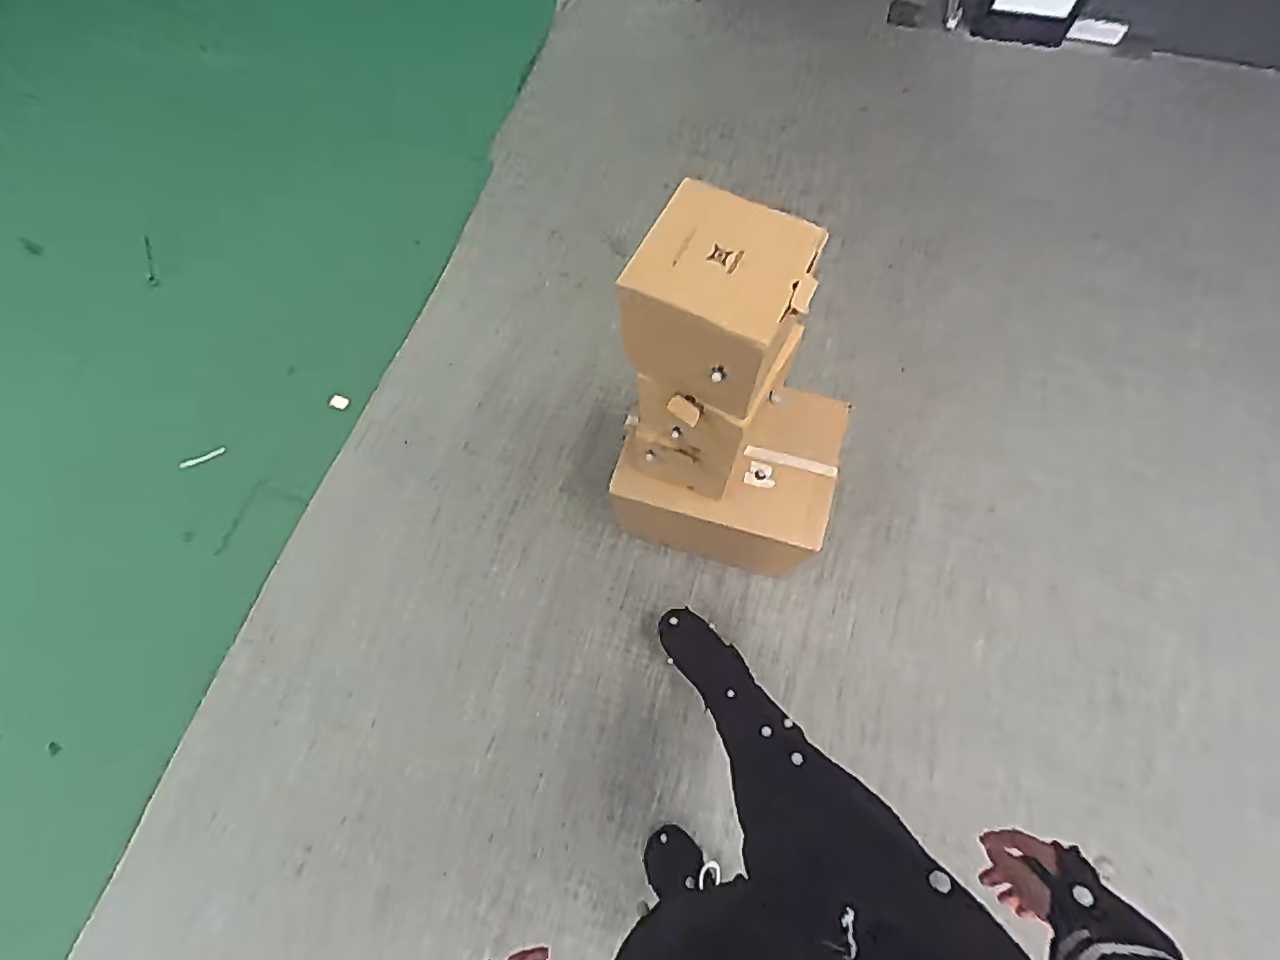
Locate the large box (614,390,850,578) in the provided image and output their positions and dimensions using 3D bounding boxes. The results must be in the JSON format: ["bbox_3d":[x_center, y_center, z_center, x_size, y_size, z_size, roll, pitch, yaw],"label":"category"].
[{"bbox_3d":[0.183,-0.006,1.174,0.408,0.320,0.320,15,73,7],"label":"large box"}]

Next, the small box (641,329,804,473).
[{"bbox_3d":[0.111,-0.139,0.794,0.168,0.176,0.179,29,74,12],"label":"small box"}]

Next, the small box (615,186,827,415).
[{"bbox_3d":[0.090,-0.200,0.643,0.179,0.176,0.168,26,73,12],"label":"small box"}]
